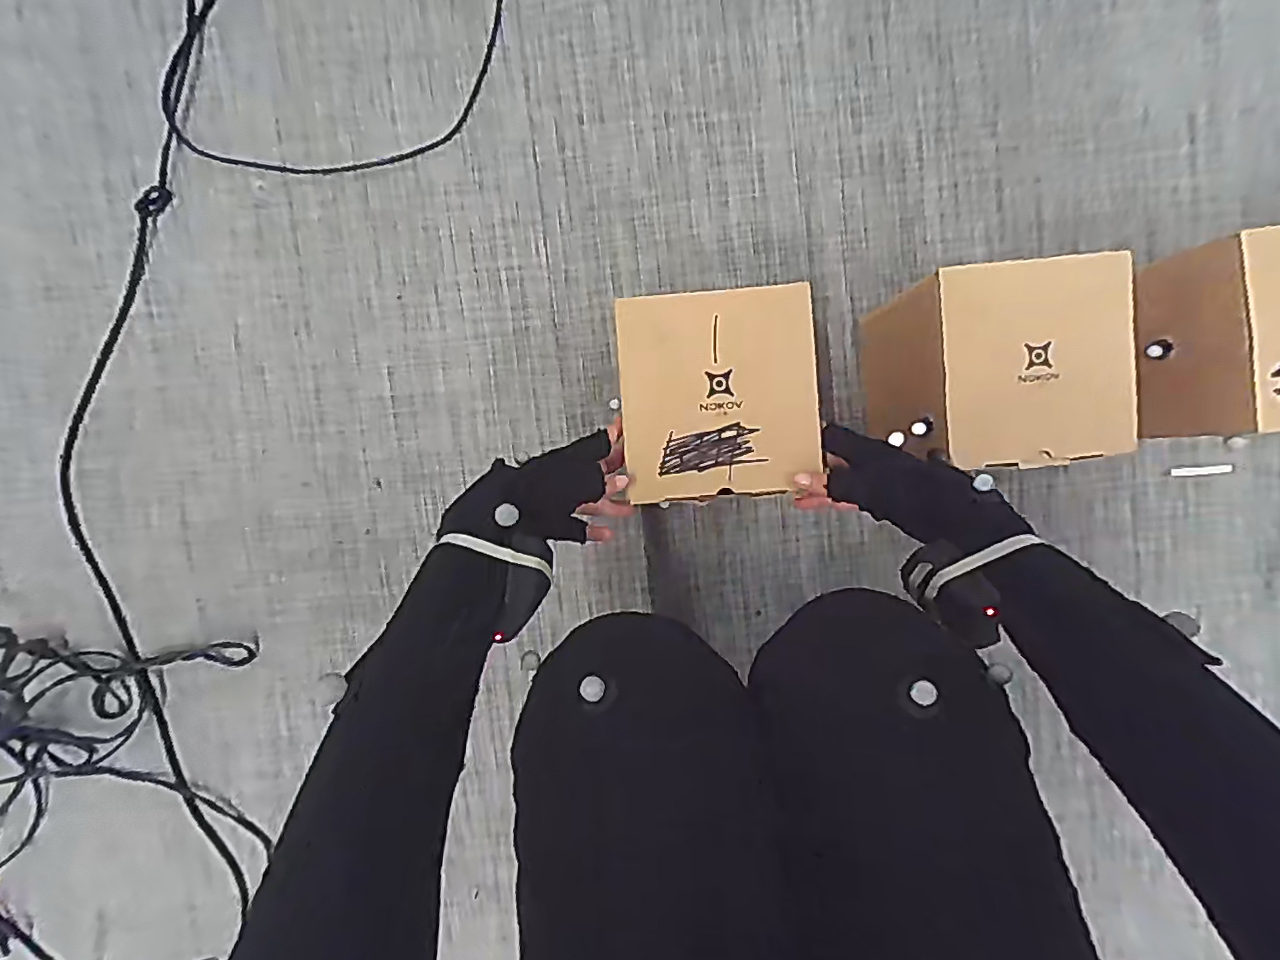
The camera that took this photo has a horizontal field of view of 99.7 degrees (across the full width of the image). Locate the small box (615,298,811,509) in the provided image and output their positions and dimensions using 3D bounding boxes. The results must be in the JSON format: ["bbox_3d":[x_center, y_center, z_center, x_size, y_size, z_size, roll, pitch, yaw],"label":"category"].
[{"bbox_3d":[0.068,-0.067,0.548,0.168,0.176,0.179,-4,90,3],"label":"small box"}]

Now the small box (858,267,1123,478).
[{"bbox_3d":[0.338,-0.097,0.555,0.168,0.176,0.179,-5,93,1],"label":"small box"}]
